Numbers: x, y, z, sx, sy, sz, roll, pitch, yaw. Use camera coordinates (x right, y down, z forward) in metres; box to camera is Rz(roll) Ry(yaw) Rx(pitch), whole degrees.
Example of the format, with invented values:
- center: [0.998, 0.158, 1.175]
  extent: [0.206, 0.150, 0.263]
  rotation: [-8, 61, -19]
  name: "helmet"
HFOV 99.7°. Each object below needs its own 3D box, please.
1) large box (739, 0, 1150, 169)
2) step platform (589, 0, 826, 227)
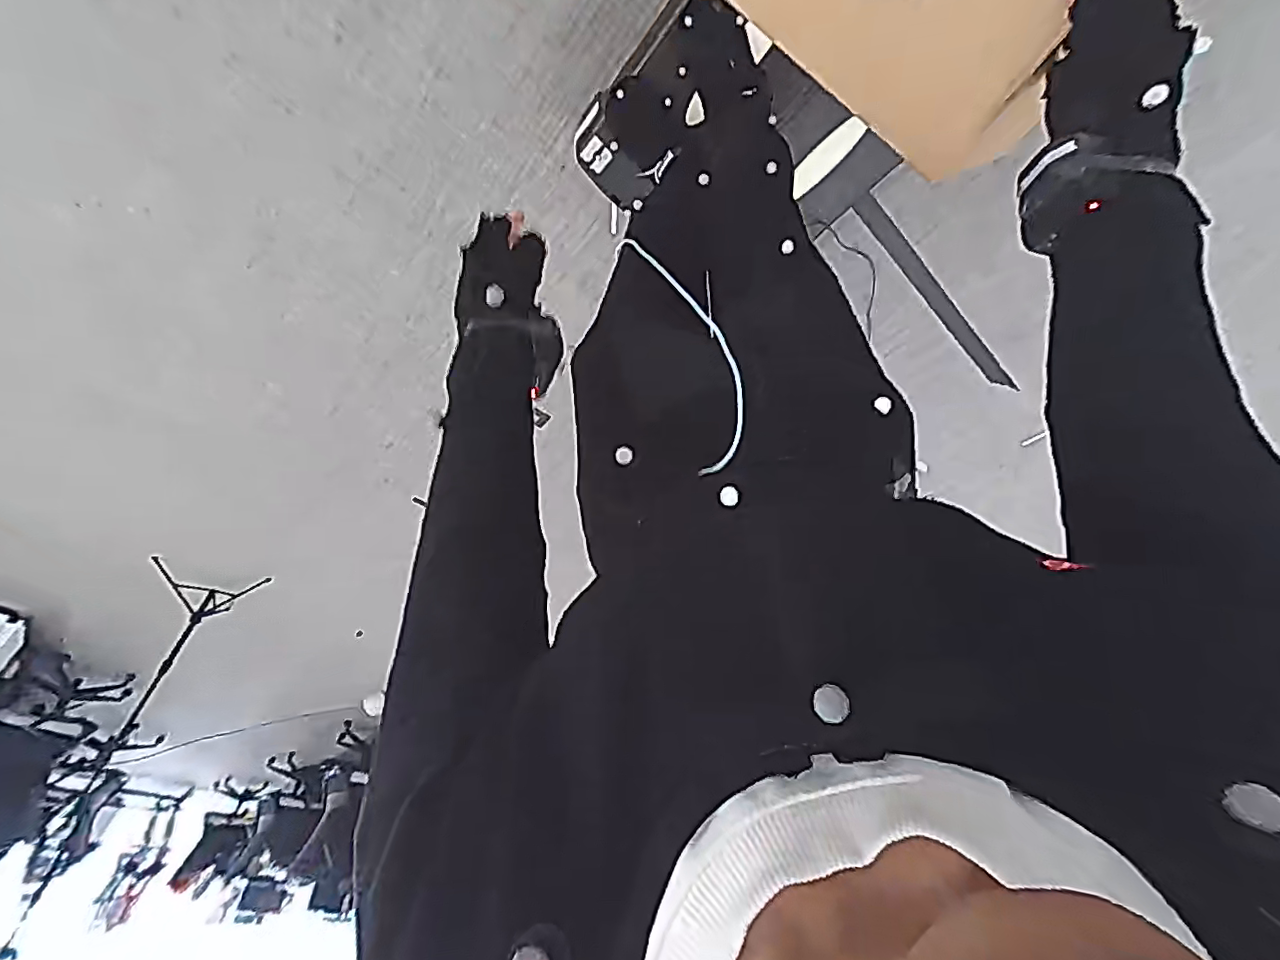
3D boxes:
- center: [0.310, -0.581, 0.517]
  extent: [0.408, 0.320, 0.320]
  rotation: [48, 143, 8]
  name: "large box"
- center: [0.198, -0.834, 1.015]
  extent: [0.286, 0.204, 0.684]
  rotation: [30, 130, -28]
  name: "step platform"
